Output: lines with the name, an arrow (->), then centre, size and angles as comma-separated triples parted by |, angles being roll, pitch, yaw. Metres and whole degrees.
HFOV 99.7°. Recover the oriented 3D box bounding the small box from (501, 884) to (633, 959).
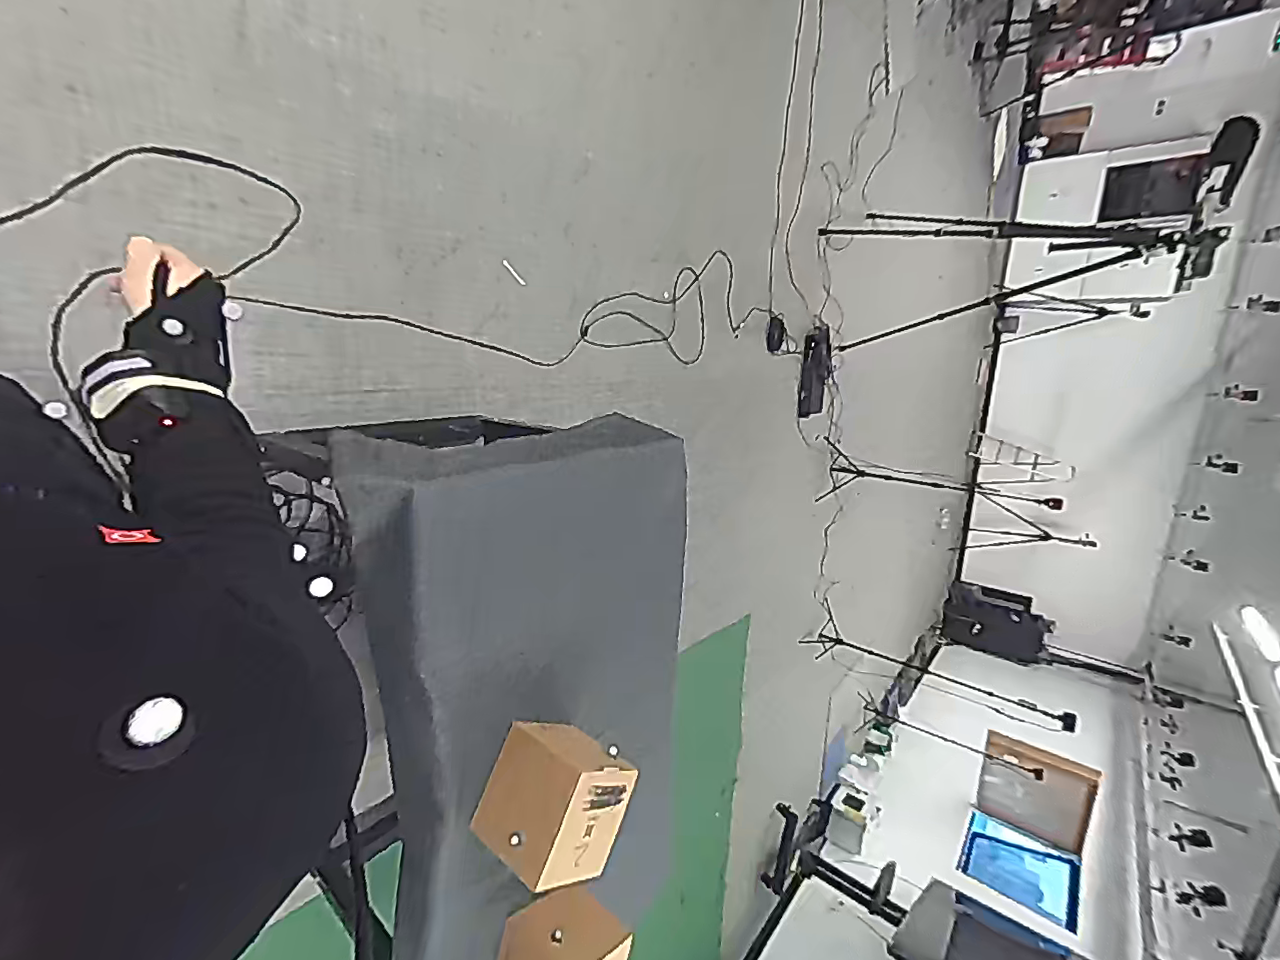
small box -> -0.145, 0.893, 0.982 | 0.179, 0.176, 0.168 | 15, 89, -53
